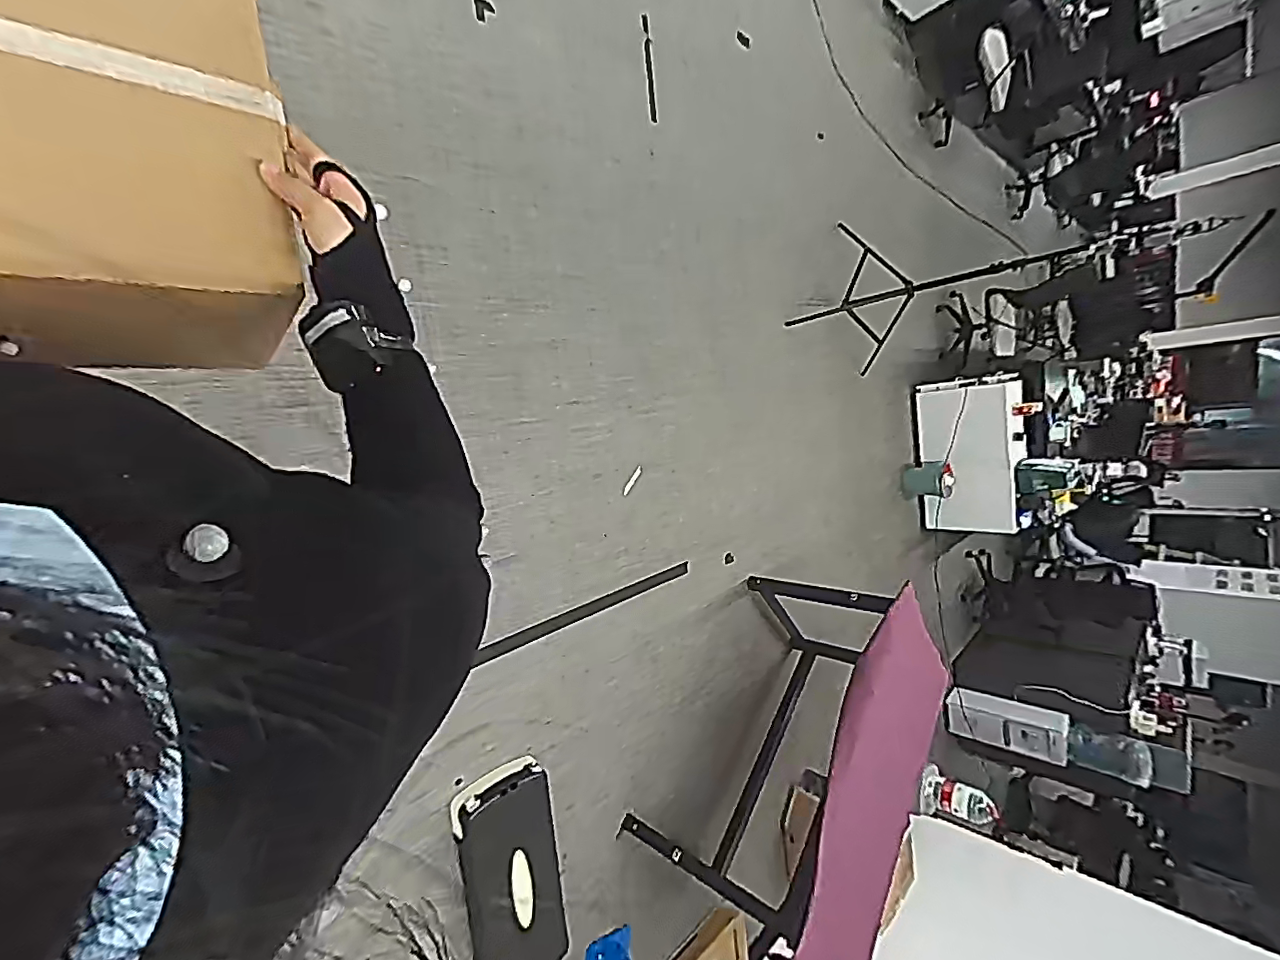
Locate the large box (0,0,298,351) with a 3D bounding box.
[{"bbox_3d":[-0.564,-0.290,0.451,0.408,0.320,0.320,-11,94,-40],"label":"large box"}]
